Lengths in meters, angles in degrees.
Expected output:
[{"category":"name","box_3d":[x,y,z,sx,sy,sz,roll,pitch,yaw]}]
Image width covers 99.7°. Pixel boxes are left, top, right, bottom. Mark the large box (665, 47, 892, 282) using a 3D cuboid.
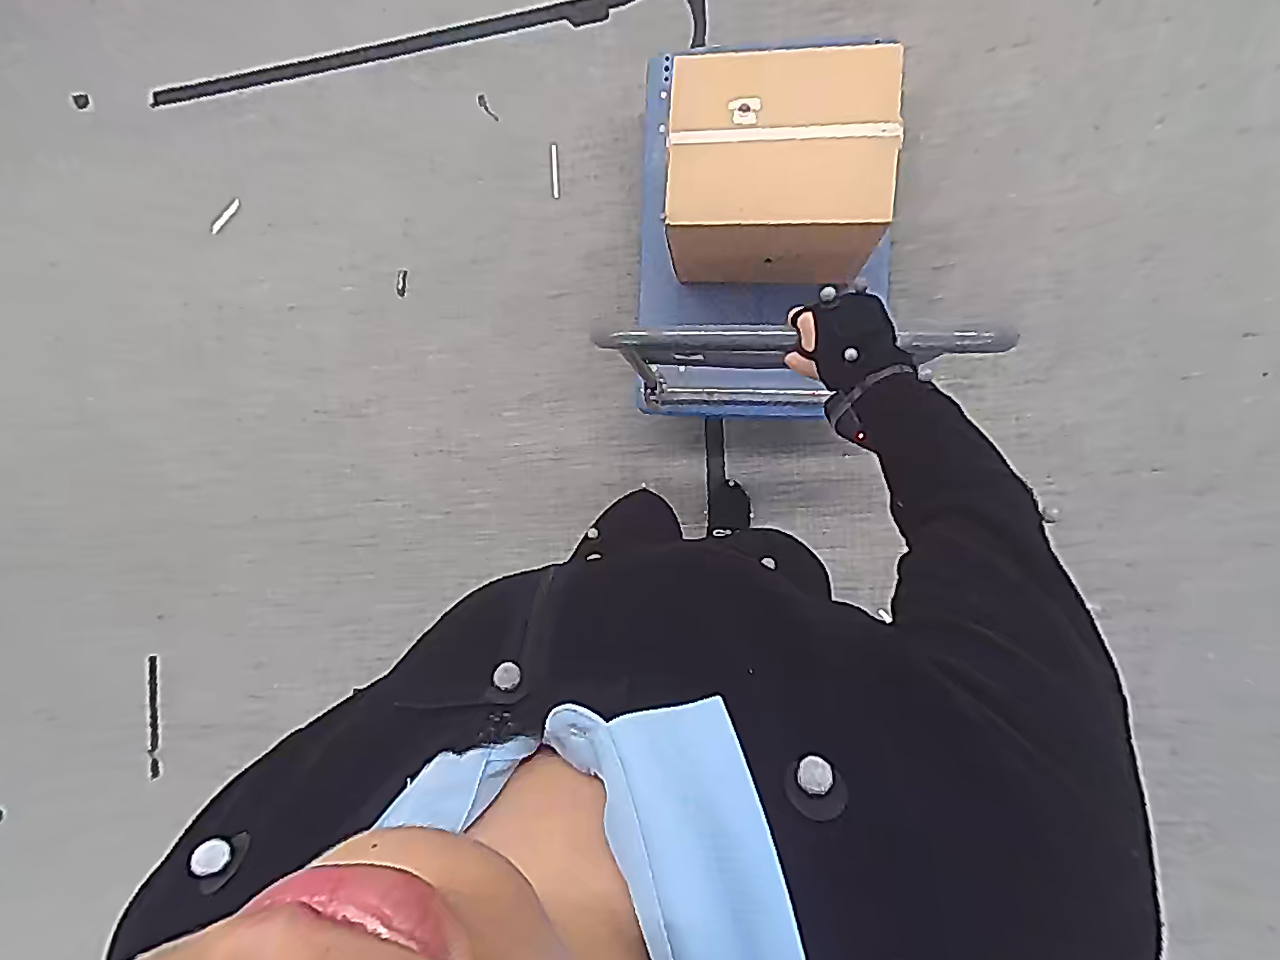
[{"category":"large box","box_3d":[0.274,-0.623,1.138,0.408,0.320,0.320,3,90,10]}]
